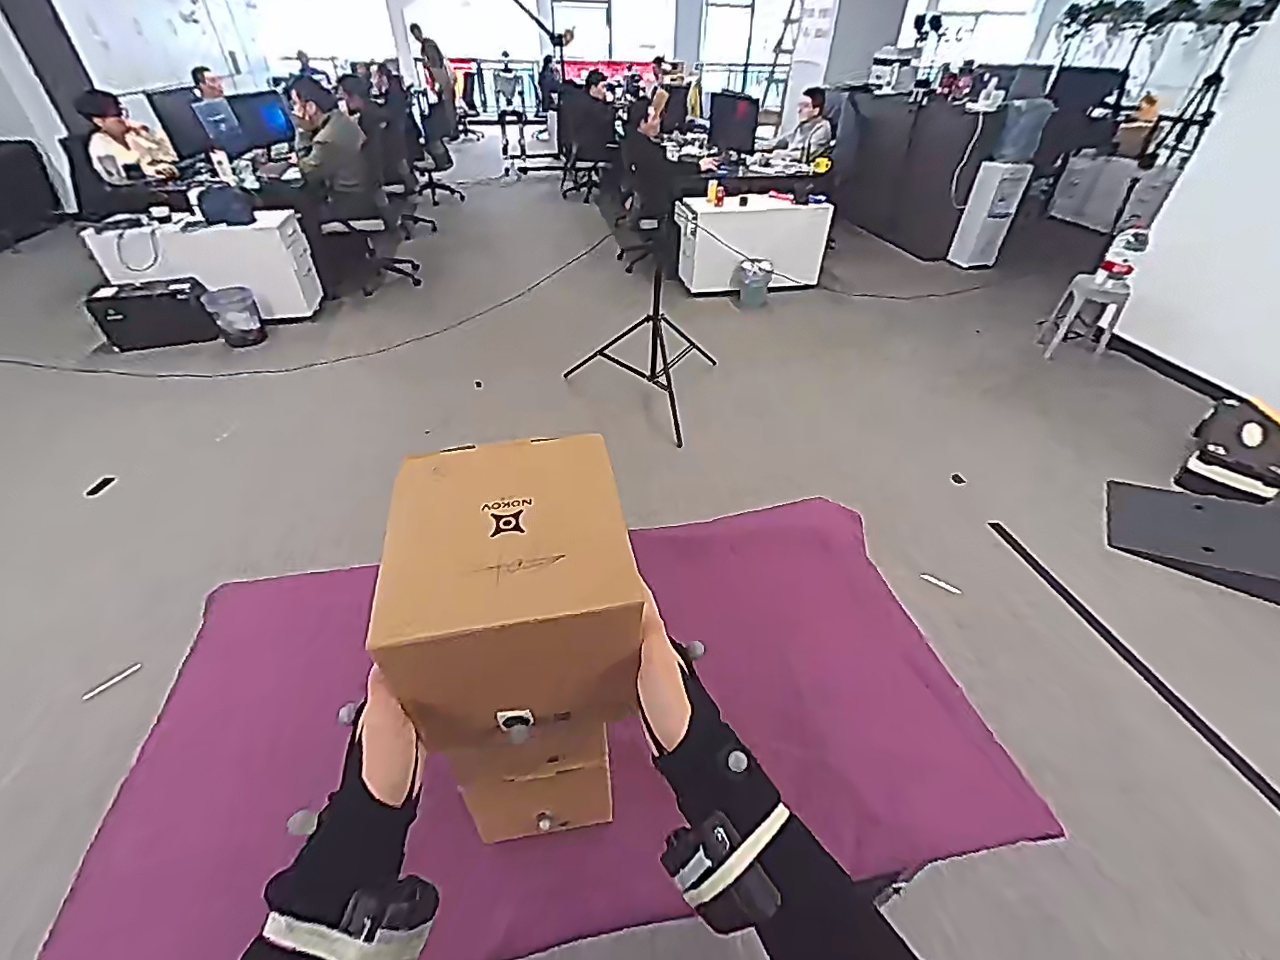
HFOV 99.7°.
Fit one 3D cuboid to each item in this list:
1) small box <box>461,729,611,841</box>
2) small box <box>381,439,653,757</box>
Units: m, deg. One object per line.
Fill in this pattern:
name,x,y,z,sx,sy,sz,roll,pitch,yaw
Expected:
small box,-0.130,0.338,0.714,0.168,0.176,0.179,-6,39,-7
small box,-0.091,0.091,0.440,0.168,0.176,0.179,-8,45,-10
